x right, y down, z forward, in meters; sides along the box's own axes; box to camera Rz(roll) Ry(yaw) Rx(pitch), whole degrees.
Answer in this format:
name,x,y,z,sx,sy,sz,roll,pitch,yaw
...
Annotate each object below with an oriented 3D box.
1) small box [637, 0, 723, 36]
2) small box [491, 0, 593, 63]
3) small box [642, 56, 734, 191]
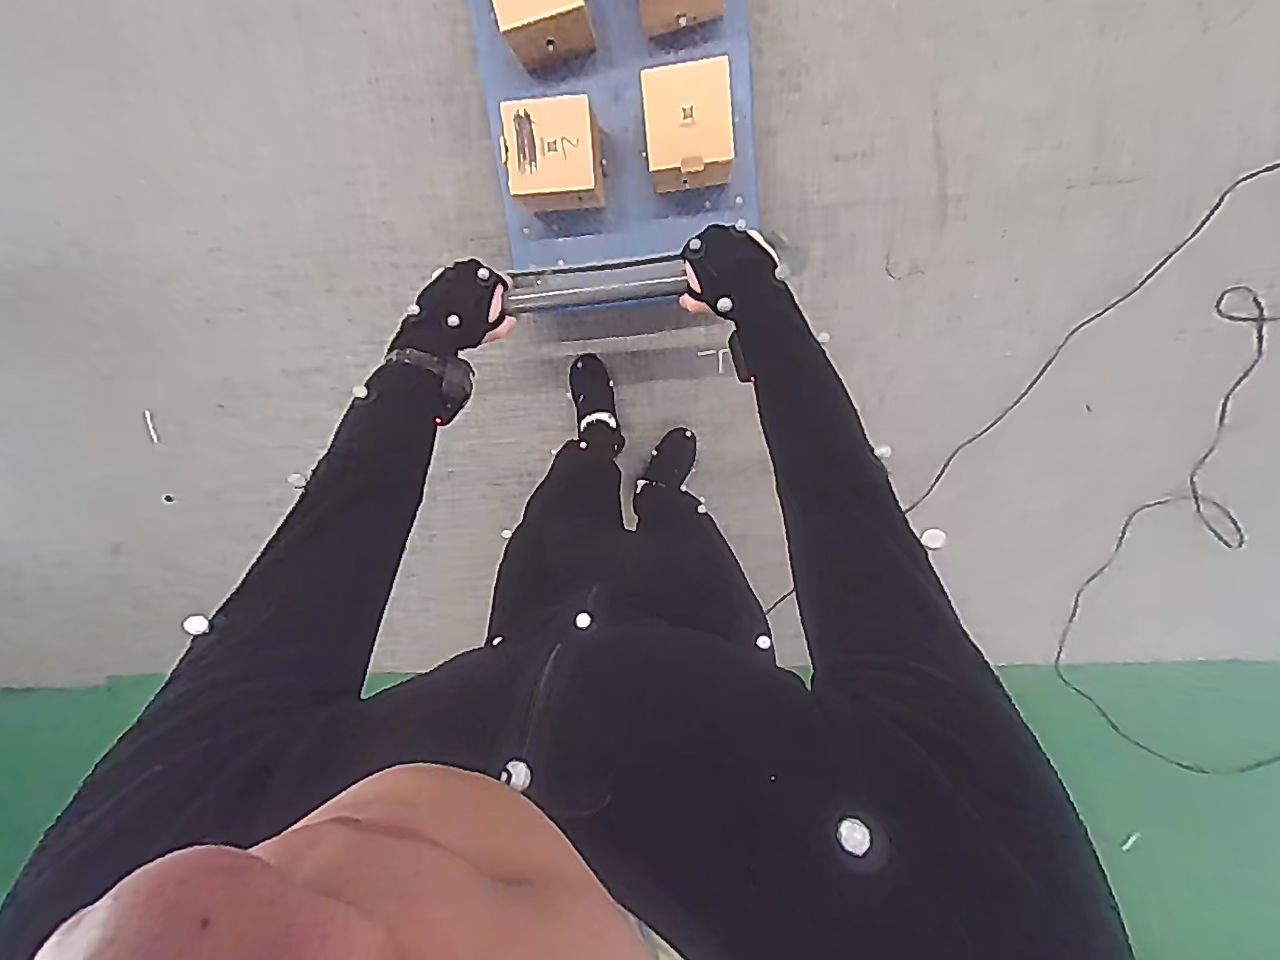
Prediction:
name,x,y,z,sx,sy,sz,roll,pitch,yaw
small box,0.065,-0.996,1.019,0.168,0.176,0.179,-10,106,8
small box,-0.196,-0.953,1.051,0.168,0.176,0.179,-11,105,7
small box,0.096,-0.712,1.100,0.168,0.176,0.179,-5,106,6
